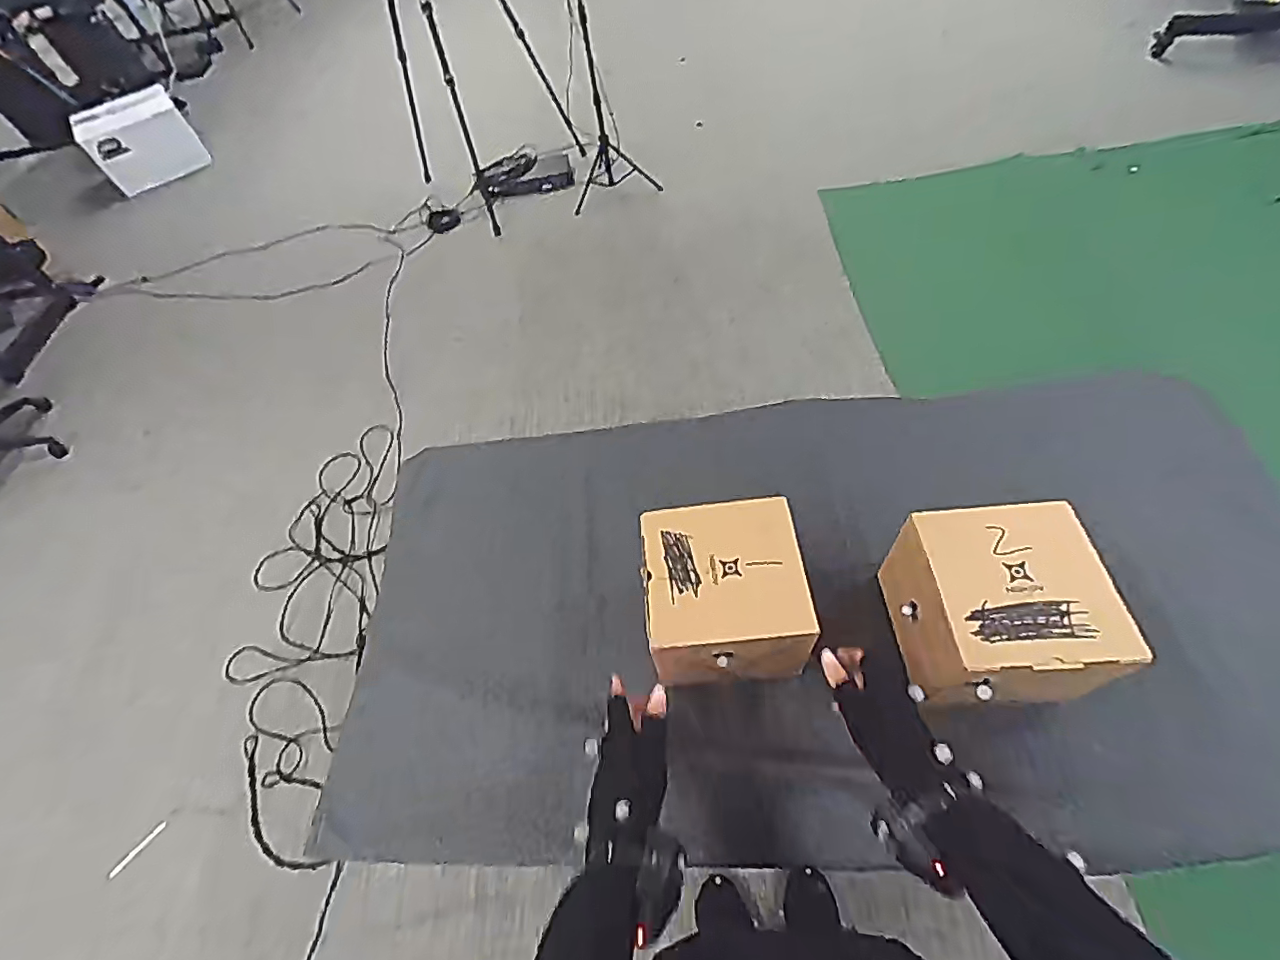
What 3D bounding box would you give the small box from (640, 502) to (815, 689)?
[{"bbox_3d":[0.100,0.148,0.663,0.179,0.176,0.168,-7,55,4],"label":"small box"}]
